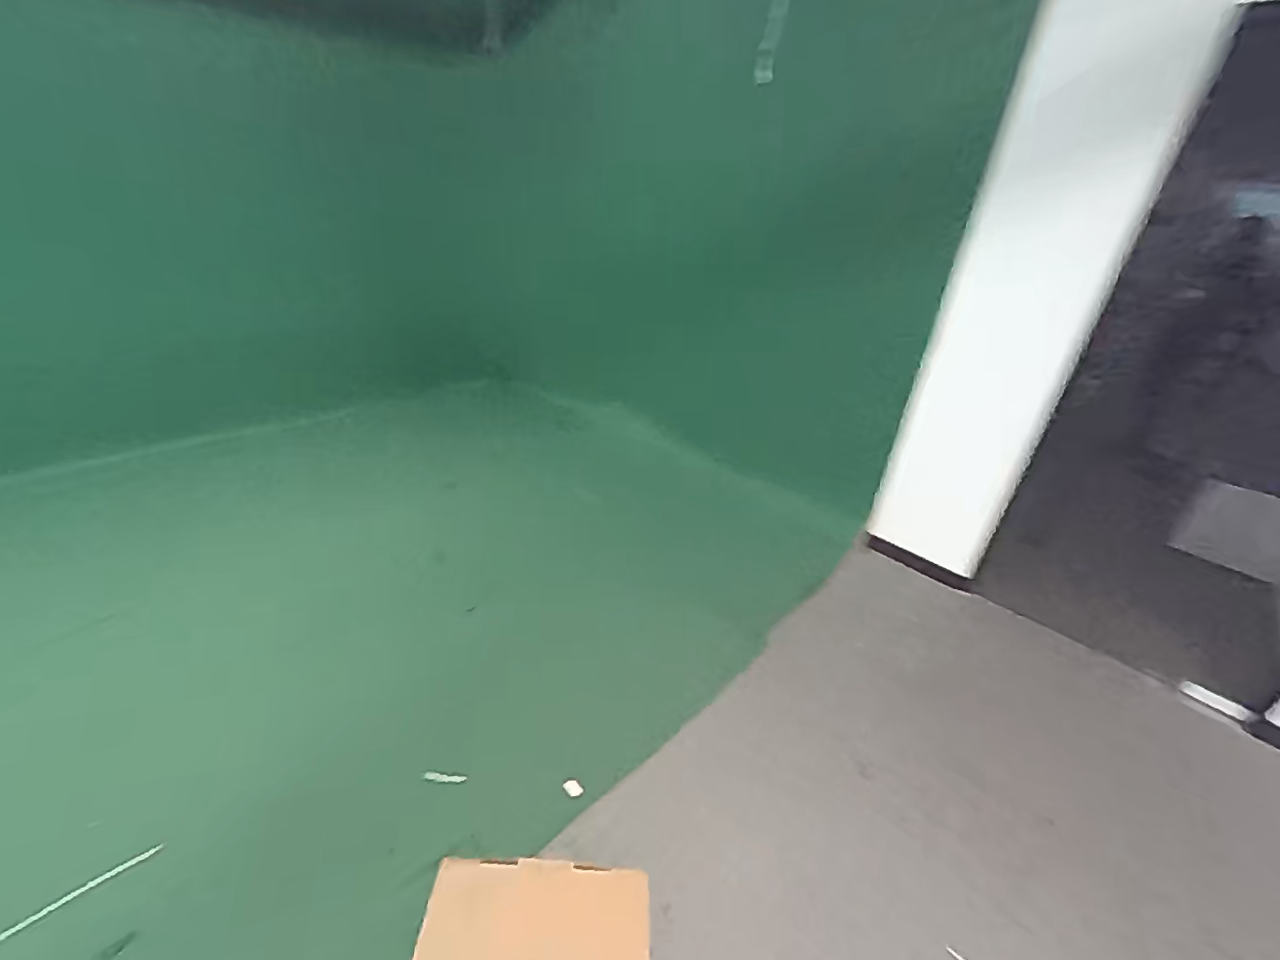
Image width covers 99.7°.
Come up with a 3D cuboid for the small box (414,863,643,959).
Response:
[{"bbox_3d":[-0.089,0.428,0.405,0.168,0.176,0.179,5,32,-3],"label":"small box"}]
